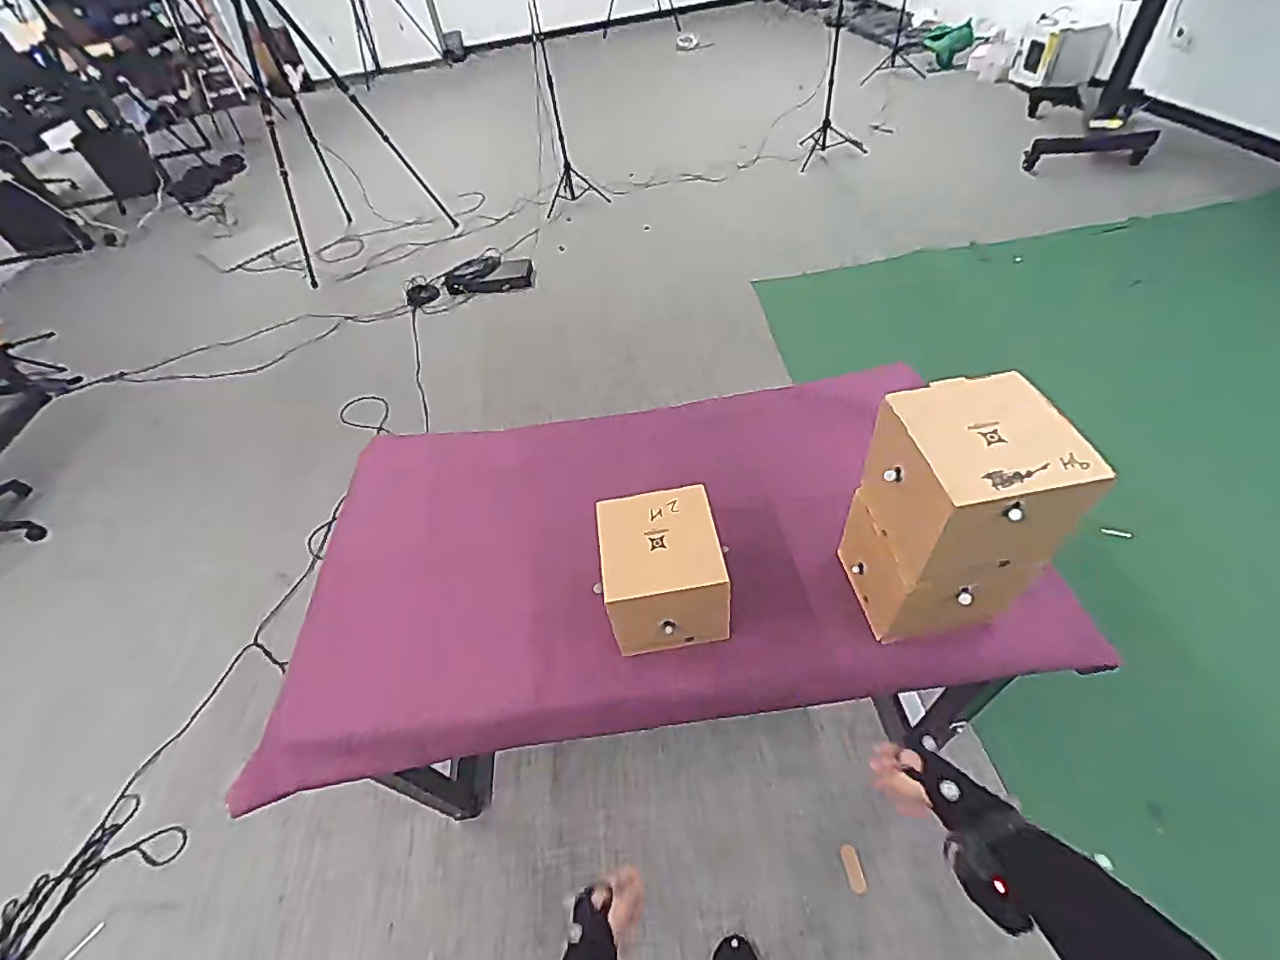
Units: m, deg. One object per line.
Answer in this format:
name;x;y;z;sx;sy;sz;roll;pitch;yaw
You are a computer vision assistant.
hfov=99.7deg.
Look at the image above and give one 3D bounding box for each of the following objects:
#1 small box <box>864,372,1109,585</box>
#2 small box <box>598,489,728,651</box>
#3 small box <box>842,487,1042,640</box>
small box;0.391;0.001;0.655;0.168;0.176;0.179;-12;48;3
small box;0.036;0.142;0.817;0.168;0.176;0.179;-10;47;1
small box;0.413;0.109;0.777;0.179;0.176;0.168;-12;49;2
